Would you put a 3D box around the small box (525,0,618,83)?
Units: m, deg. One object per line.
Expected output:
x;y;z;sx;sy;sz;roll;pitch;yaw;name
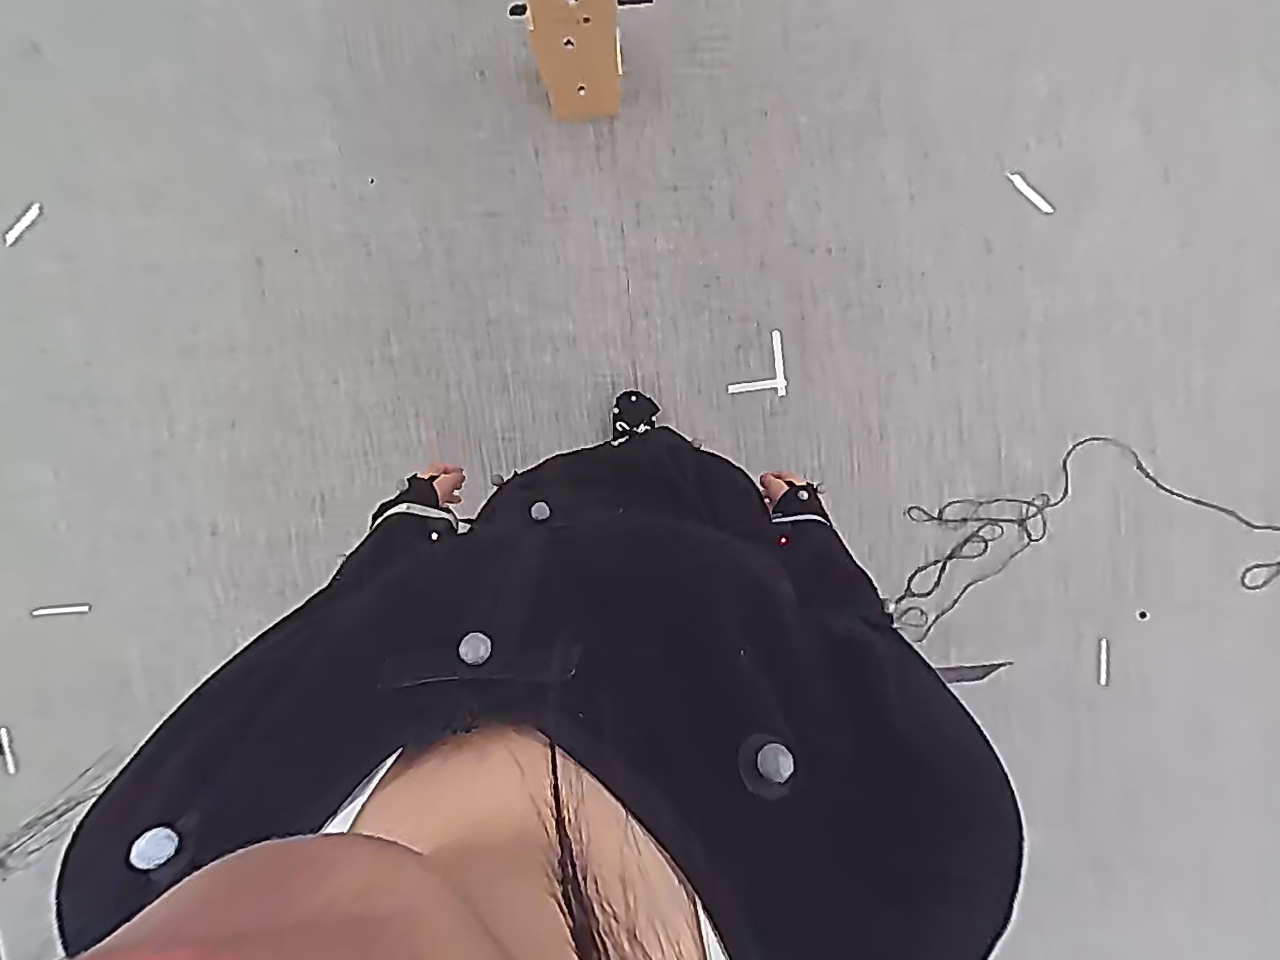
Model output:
-0.139;-0.968;1.133;0.179;0.176;0.168;-2;97;-1;small box

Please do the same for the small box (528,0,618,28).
-0.127;-0.955;0.970;0.168;0.176;0.179;-3;97;-1;small box

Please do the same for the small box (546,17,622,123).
-0.136;-0.990;1.296;0.179;0.176;0.168;-5;96;0;small box
